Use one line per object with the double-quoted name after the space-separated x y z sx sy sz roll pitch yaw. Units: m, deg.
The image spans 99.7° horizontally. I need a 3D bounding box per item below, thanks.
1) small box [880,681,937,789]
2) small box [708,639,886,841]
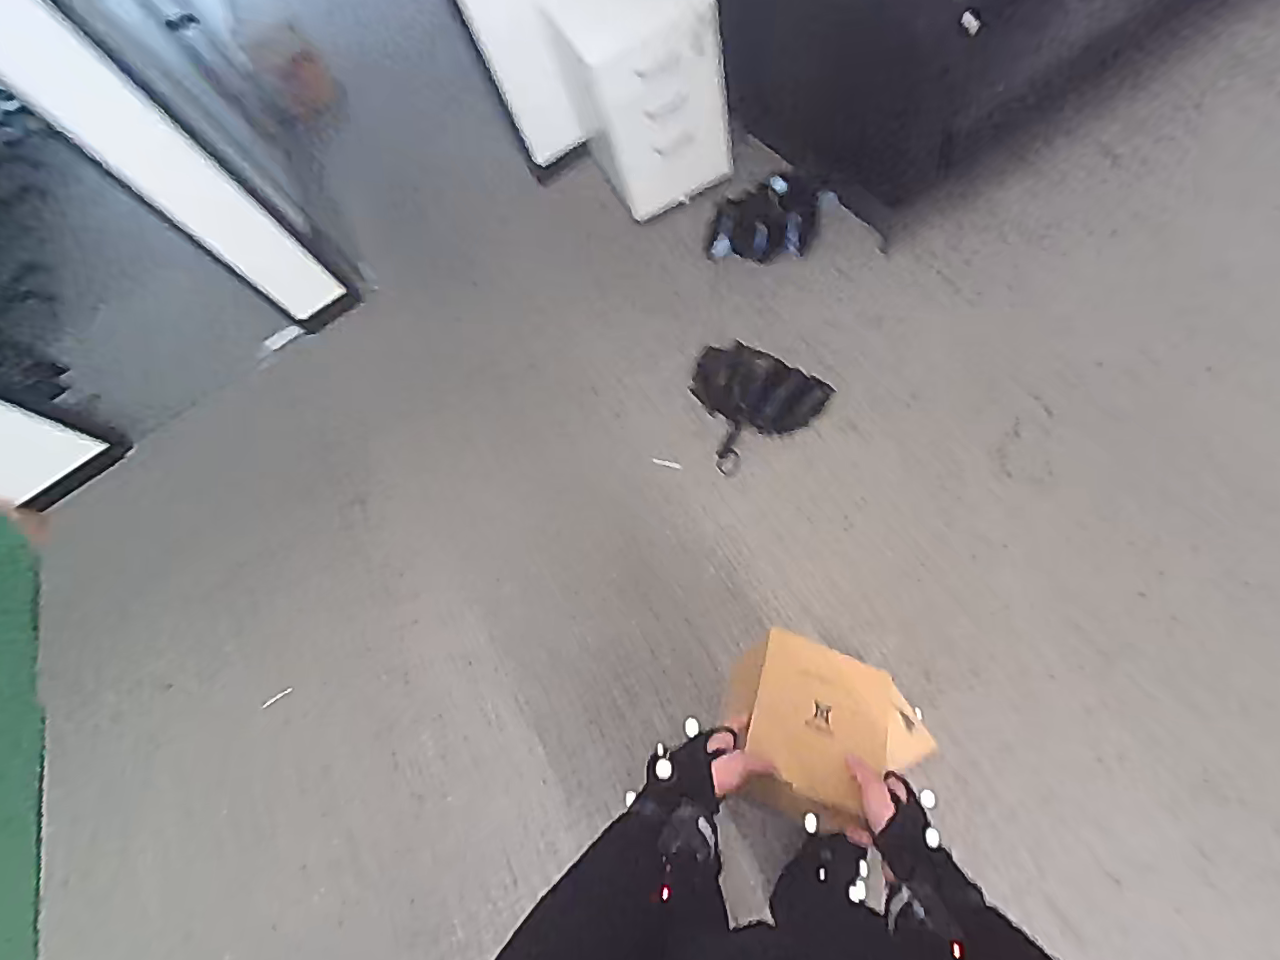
0.510 0.568 1.189 0.179 0.176 0.168 -32 61 1 "small box"
0.199 0.345 0.709 0.168 0.176 0.179 21 50 2 "small box"
